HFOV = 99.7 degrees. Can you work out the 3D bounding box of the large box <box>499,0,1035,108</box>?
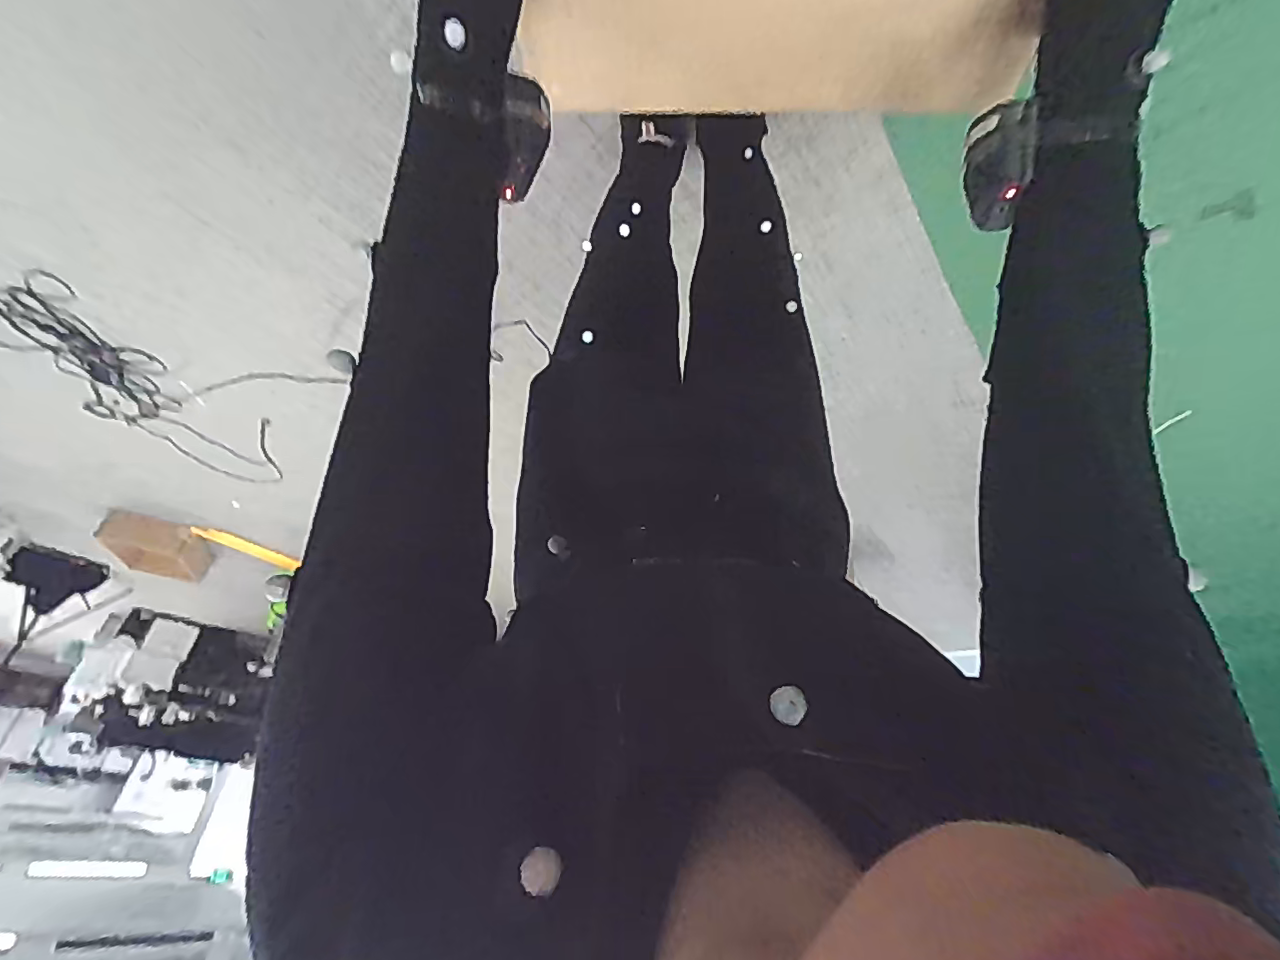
[{"bbox_3d":[0.101,-0.528,0.406,0.408,0.320,0.320,5,150,6],"label":"large box"}]
